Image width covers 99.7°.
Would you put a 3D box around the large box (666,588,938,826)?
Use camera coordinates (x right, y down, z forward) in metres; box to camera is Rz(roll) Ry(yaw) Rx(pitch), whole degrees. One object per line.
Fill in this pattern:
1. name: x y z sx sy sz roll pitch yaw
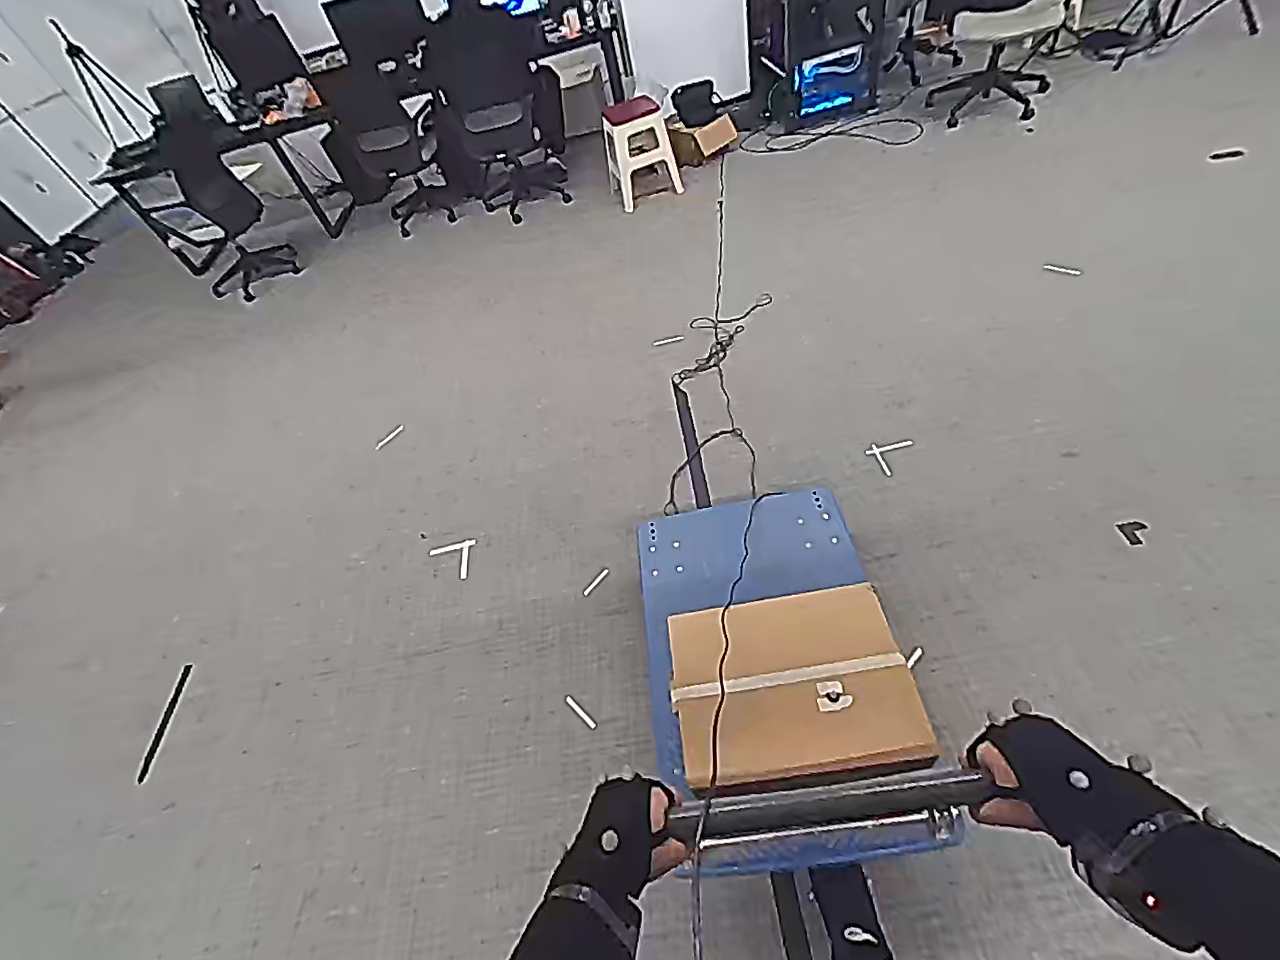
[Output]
1. large box: 0.286 0.454 1.064 0.408 0.320 0.320 -11 49 5
